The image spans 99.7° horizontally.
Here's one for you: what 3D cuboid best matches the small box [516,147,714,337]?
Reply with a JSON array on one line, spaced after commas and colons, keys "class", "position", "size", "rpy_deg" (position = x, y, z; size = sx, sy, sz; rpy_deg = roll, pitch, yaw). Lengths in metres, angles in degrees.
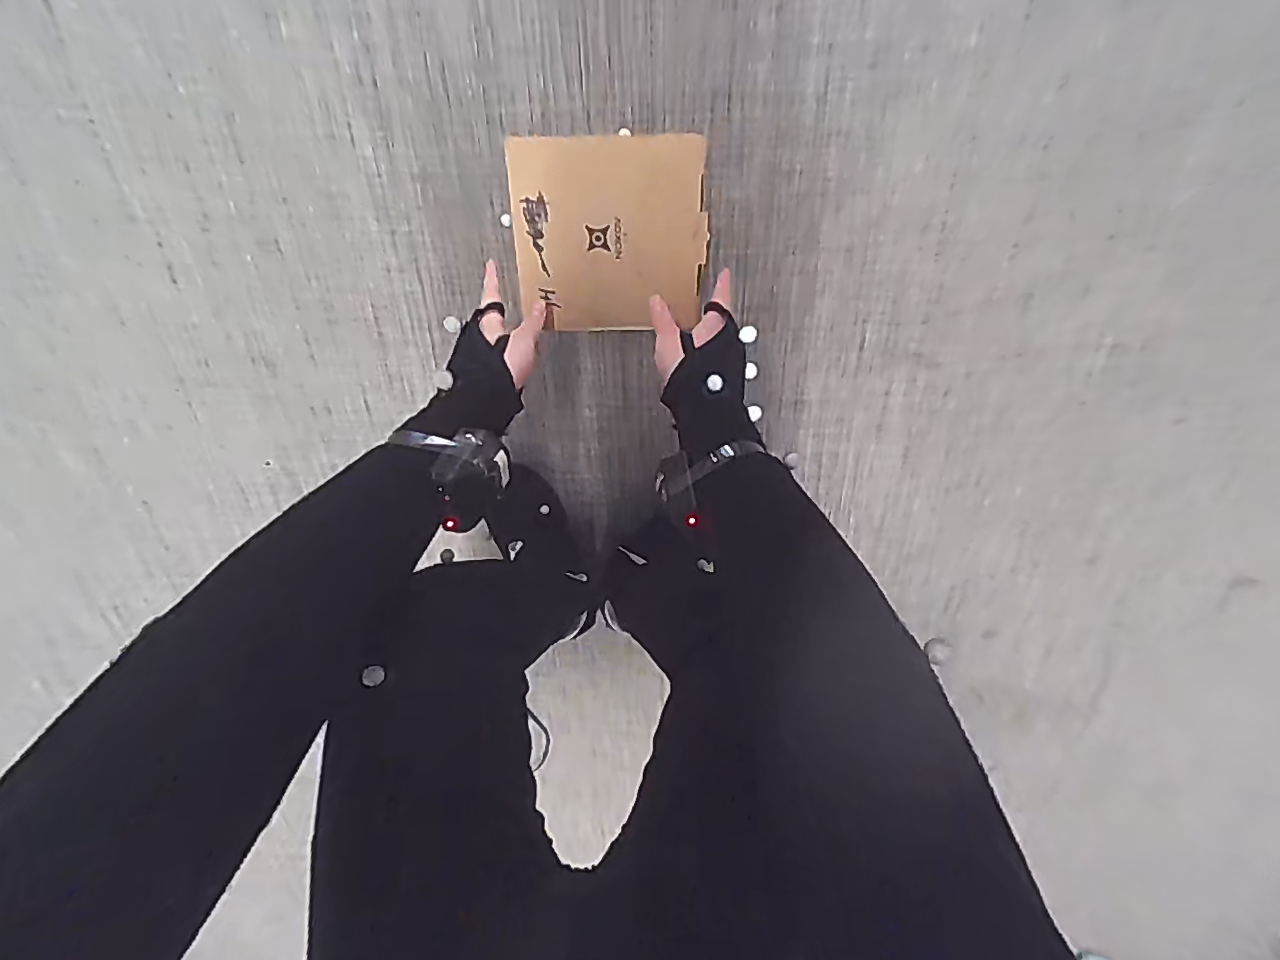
[{"class": "small box", "position": [-0.023, -0.251, 0.575], "size": [0.179, 0.176, 0.168], "rpy_deg": [-1, 116, 0]}]
